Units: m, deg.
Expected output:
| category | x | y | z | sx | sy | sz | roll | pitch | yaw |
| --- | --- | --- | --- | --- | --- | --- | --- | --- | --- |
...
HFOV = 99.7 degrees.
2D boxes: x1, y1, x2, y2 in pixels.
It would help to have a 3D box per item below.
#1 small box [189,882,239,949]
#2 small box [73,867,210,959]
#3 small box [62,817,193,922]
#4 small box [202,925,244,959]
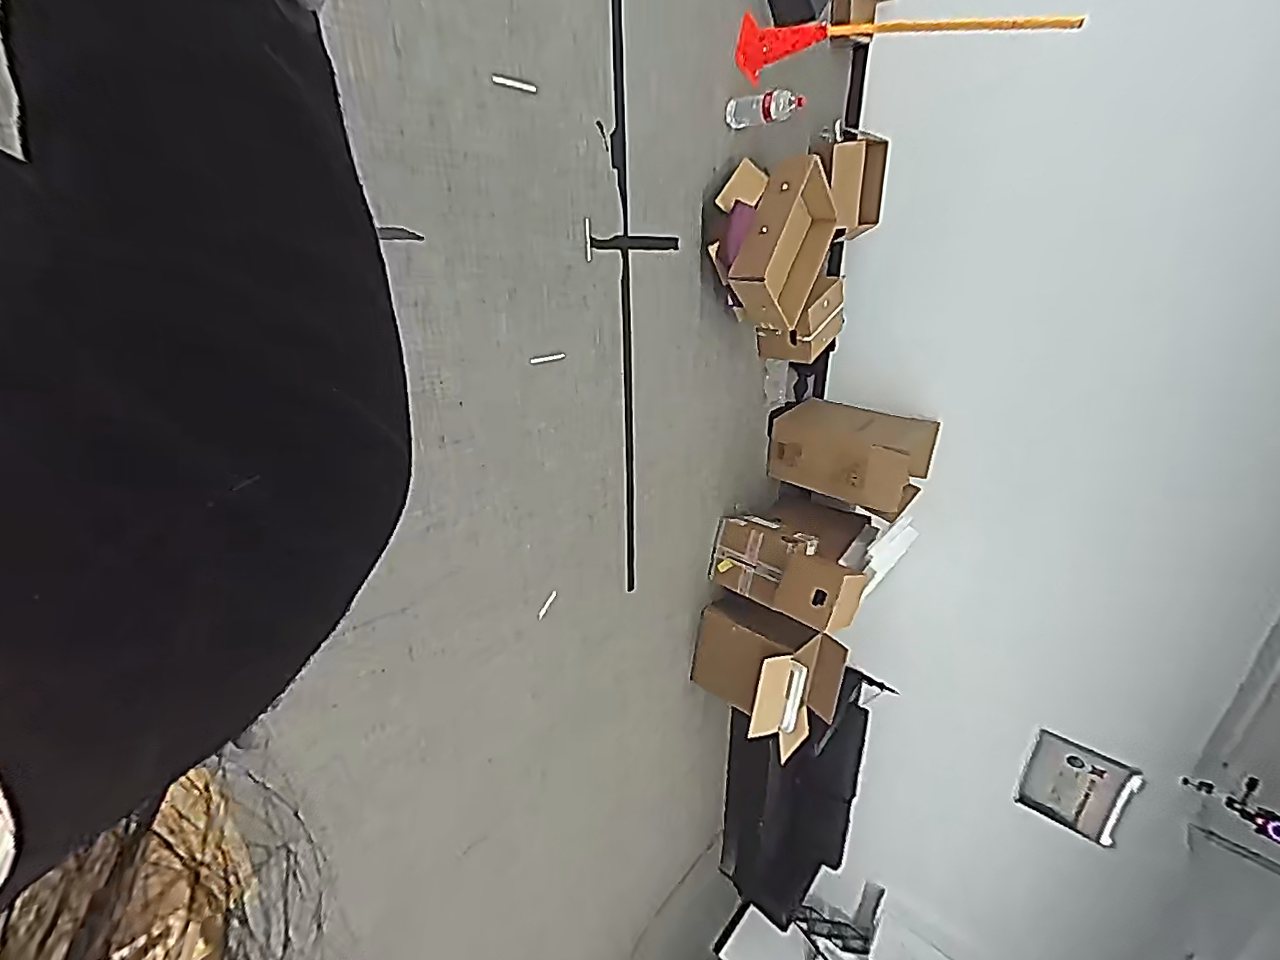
| category | x | y | z | sx | sy | sz | roll | pitch | yaw |
| --- | --- | --- | --- | --- | --- | --- | --- | --- | --- |
| small box | -1.177 | 1.184 | 1.383 | 0.168 | 0.176 | 0.179 | -33 | 128 | -40 |
| small box | -1.070 | 0.986 | 1.162 | 0.168 | 0.176 | 0.179 | -24 | 123 | -44 |
| small box | -1.192 | 0.932 | 1.258 | 0.168 | 0.176 | 0.179 | -27 | 126 | -42 |
| small box | -1.049 | 1.225 | 1.288 | 0.168 | 0.176 | 0.179 | -32 | 128 | -42 |
